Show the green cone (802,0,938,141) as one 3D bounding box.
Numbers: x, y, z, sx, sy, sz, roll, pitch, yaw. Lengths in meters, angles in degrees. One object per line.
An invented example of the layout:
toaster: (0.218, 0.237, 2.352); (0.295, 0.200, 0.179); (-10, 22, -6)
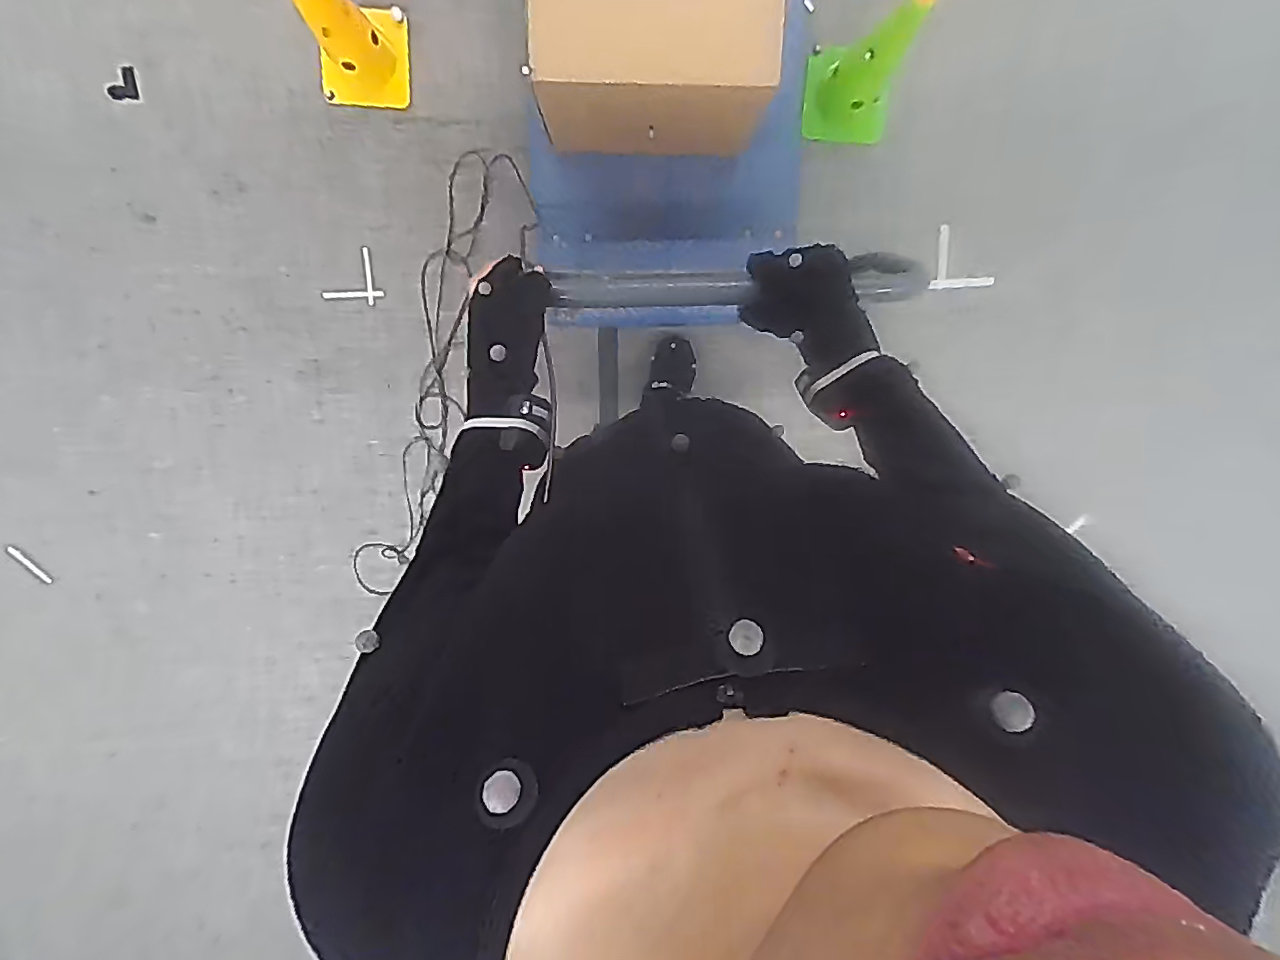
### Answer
green cone: (0.500, -0.895, 1.130); (0.202, 0.368, 0.200); (3, 102, -3)

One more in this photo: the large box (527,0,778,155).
large box: (0.020, -0.815, 0.989); (0.408, 0.320, 0.320); (0, 102, -1)
